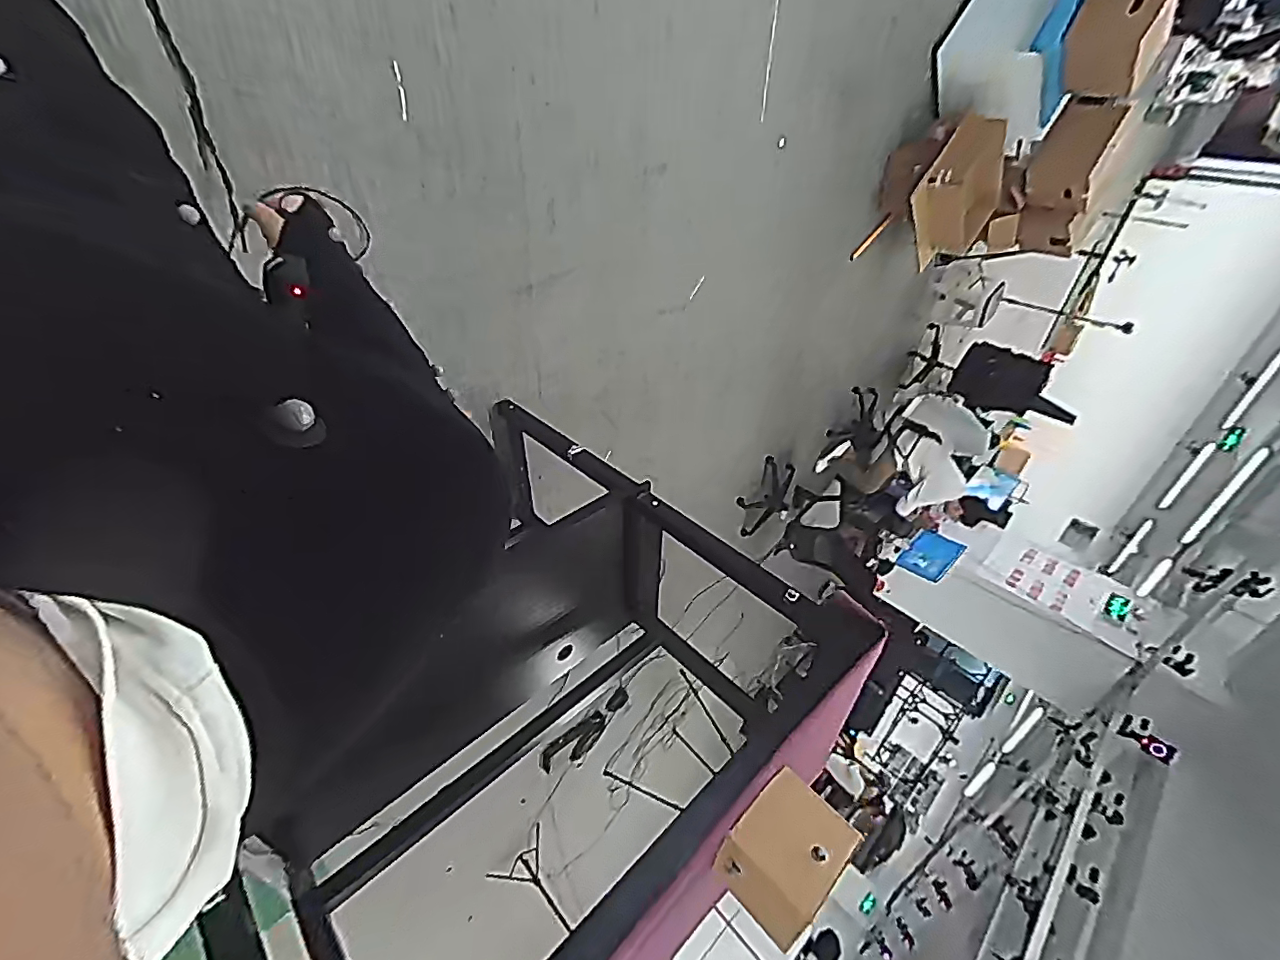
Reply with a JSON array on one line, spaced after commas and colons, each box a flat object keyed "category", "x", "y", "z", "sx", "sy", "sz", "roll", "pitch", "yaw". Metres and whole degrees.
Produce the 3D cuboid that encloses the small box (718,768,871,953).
[{"category": "small box", "x": 0.263, "y": 0.653, "z": 0.945, "sx": 0.179, "sy": 0.176, "sz": 0.168, "roll": -26, "pitch": 136, "yaw": -36}]
